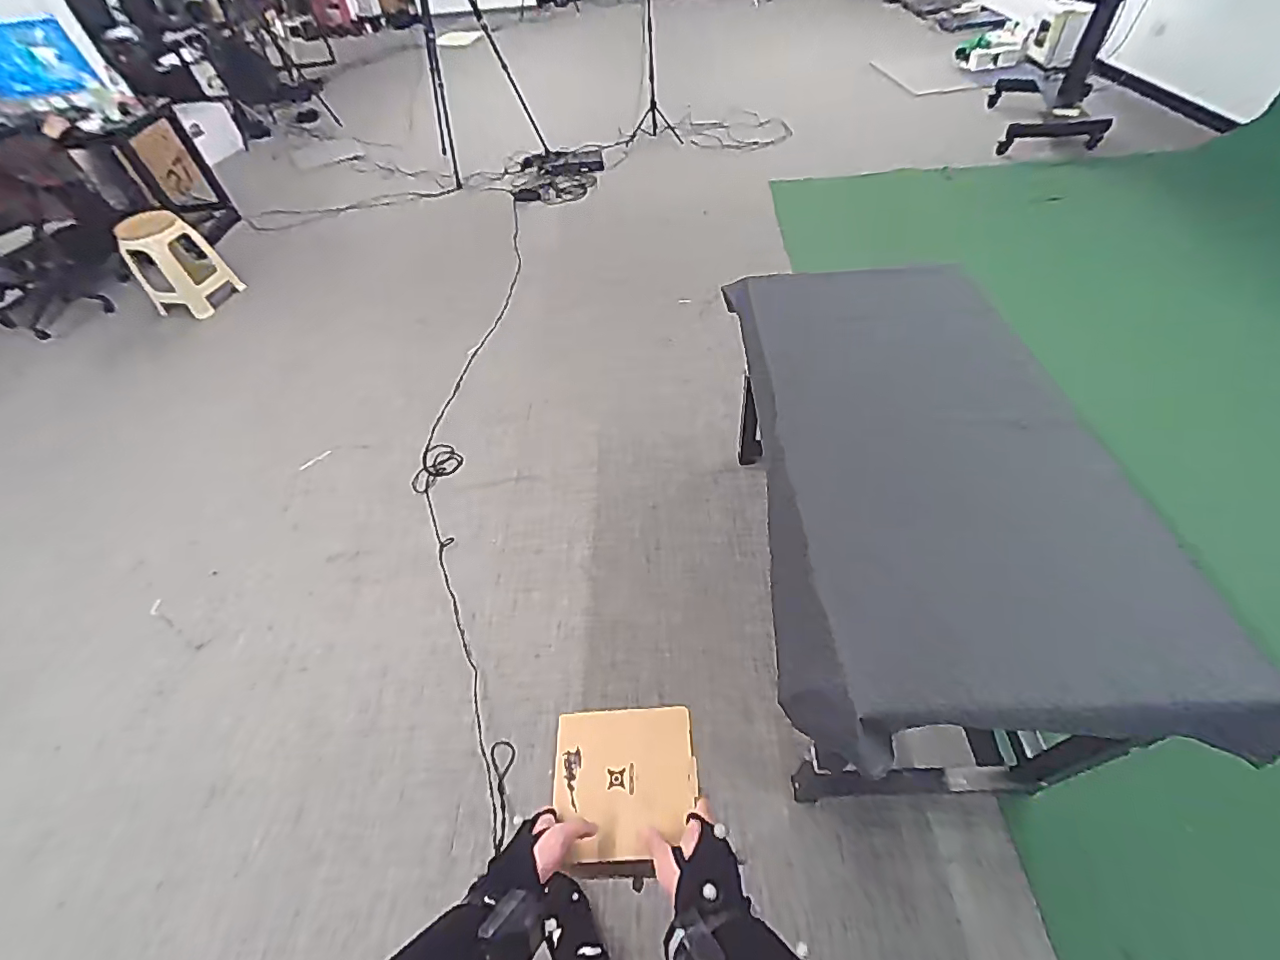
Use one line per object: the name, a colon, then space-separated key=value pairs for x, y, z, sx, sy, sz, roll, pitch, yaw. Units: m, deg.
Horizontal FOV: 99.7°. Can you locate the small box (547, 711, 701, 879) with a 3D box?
small box: x=-0.012 y=0.420 z=0.718 sx=0.179 sy=0.176 sz=0.168 roll=-5 pitch=48 yaw=4
